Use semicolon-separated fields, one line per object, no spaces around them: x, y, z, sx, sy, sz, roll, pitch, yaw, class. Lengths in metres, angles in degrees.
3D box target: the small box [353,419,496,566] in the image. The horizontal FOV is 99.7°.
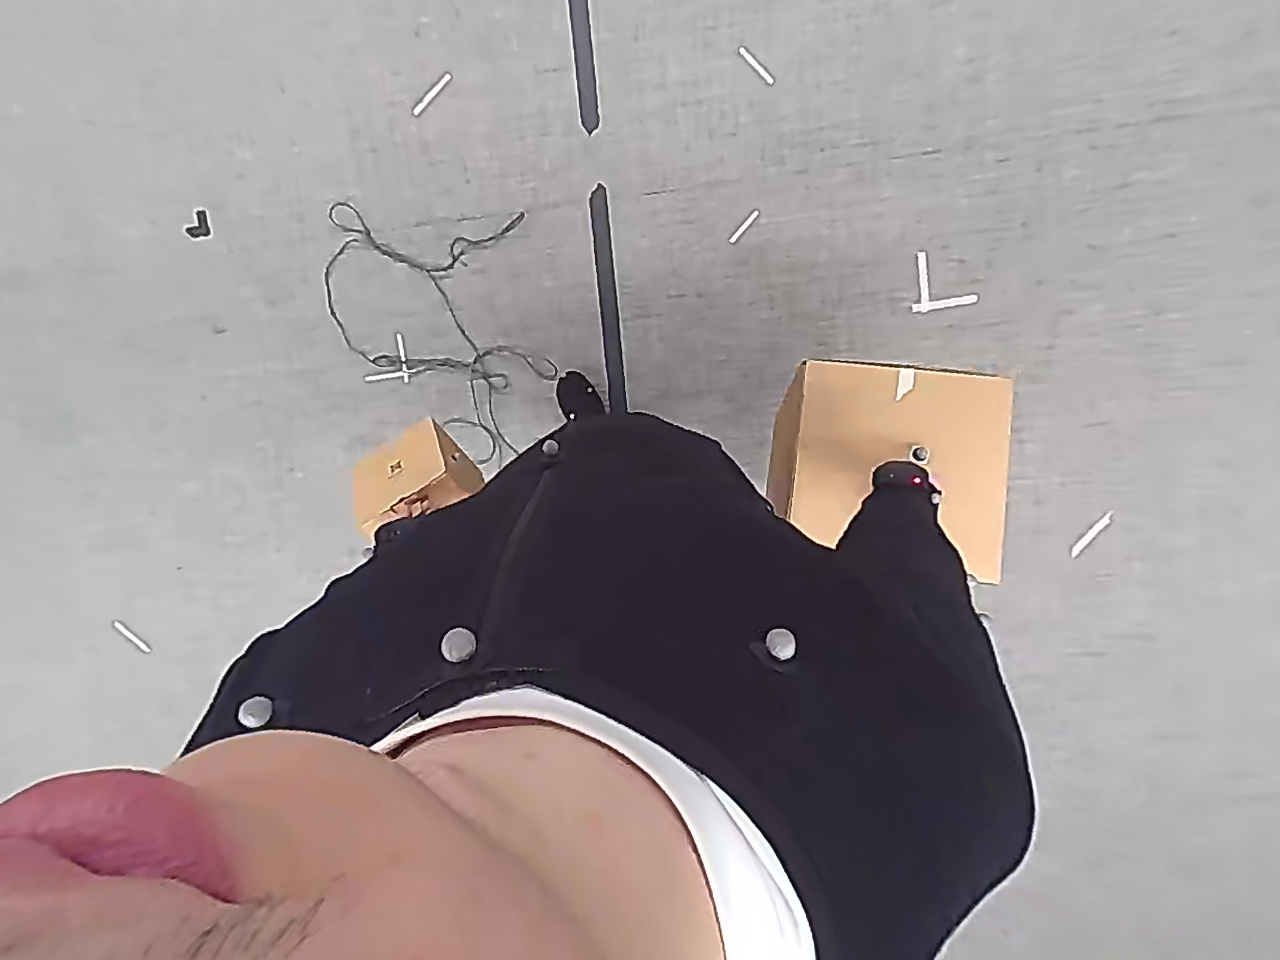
-0.381;0.030;0.967;0.168;0.179;0.176;-32;136;-3;small box
